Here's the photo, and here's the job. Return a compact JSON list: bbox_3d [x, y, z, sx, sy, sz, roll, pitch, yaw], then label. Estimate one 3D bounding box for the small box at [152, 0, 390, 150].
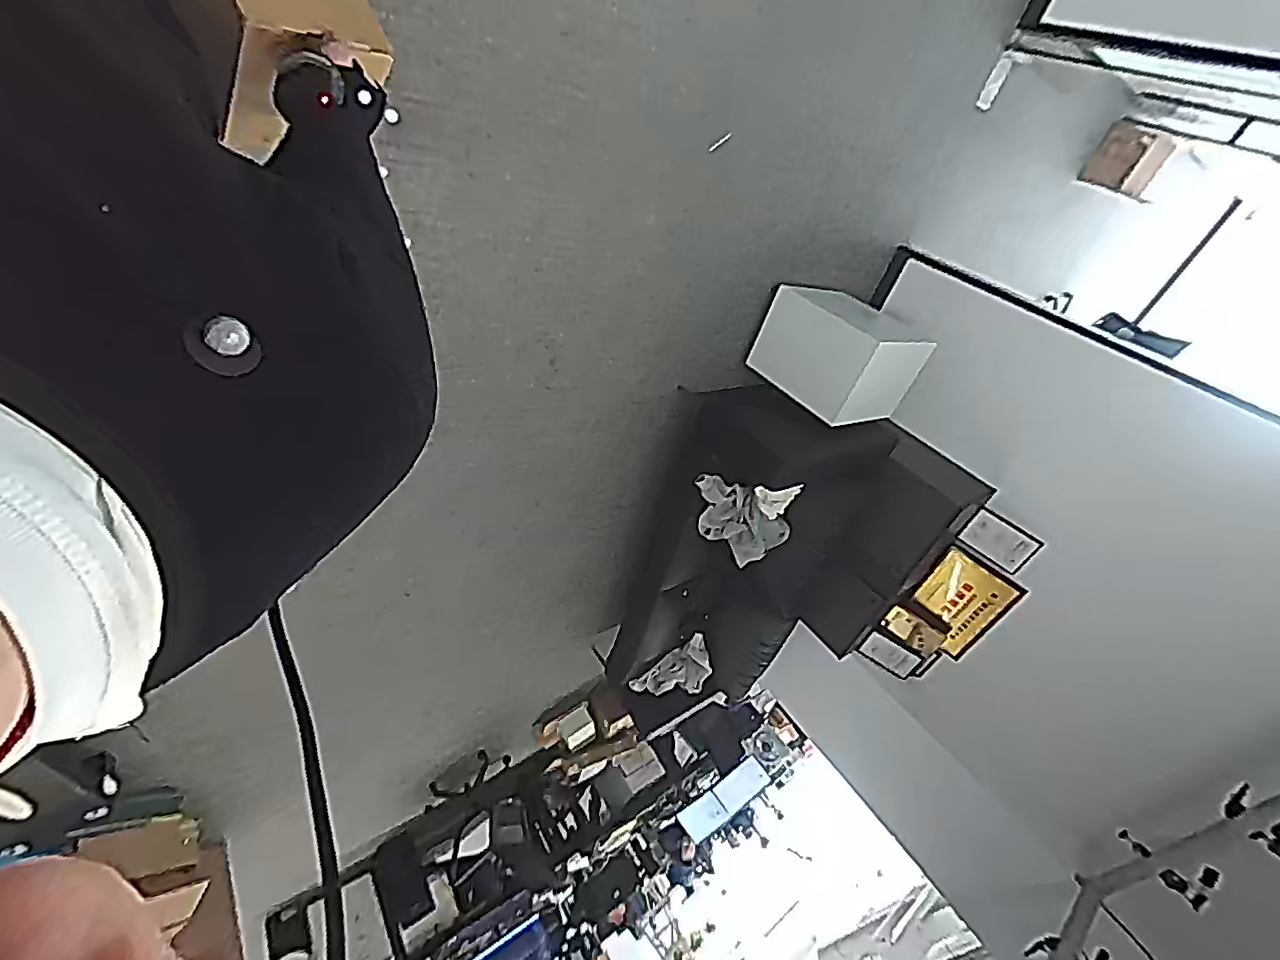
[{"bbox_3d":[-0.443,-0.532,0.651,0.176,0.179,0.168,-25,-173,43],"label":"small box"}]
